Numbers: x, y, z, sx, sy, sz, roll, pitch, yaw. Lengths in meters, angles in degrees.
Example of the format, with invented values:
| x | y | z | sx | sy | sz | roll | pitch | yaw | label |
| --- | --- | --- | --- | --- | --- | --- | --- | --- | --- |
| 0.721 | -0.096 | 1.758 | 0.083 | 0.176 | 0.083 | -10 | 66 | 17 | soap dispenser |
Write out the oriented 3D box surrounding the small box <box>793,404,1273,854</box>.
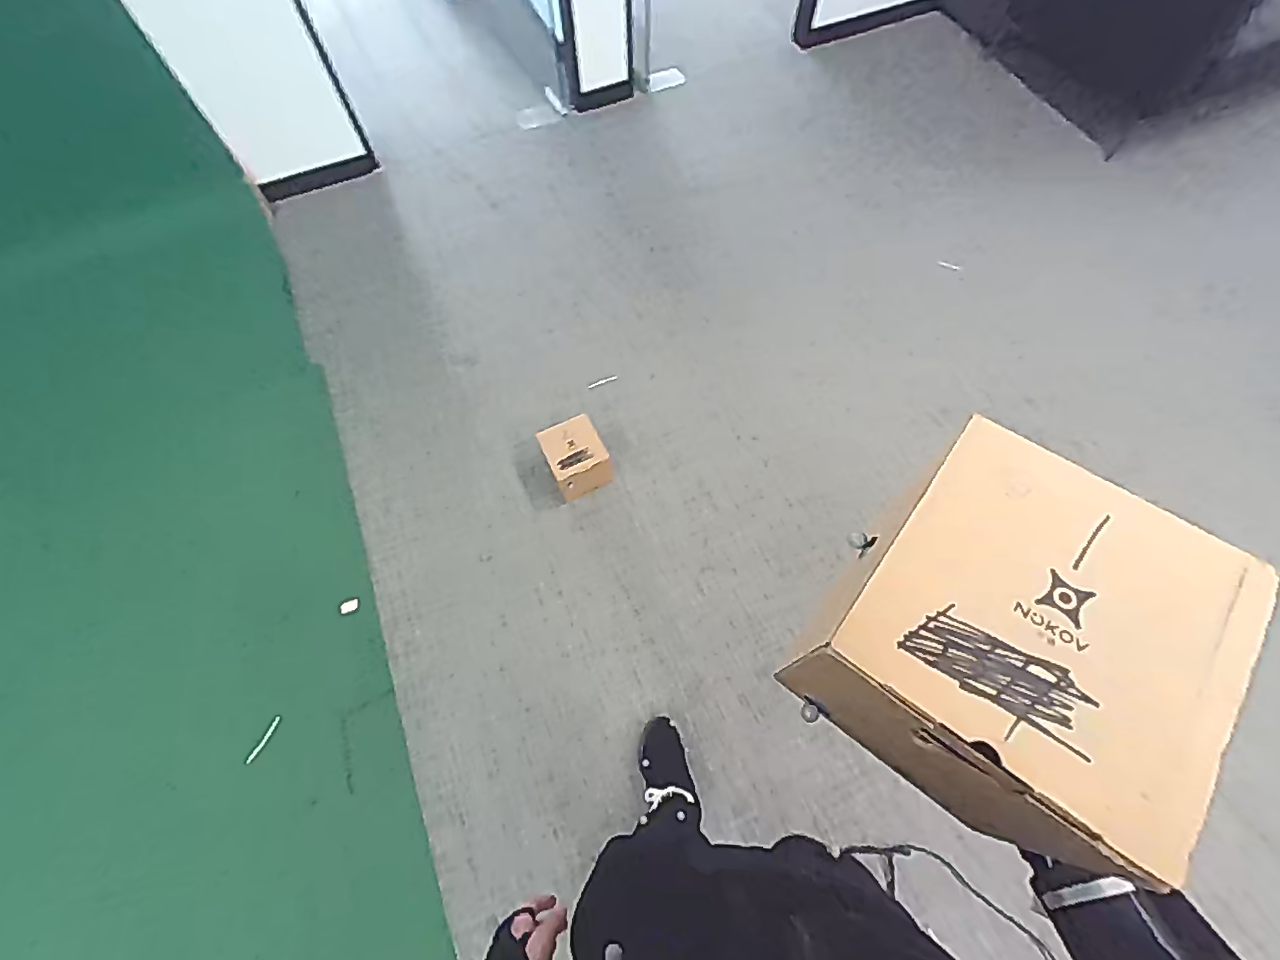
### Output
| x | y | z | sx | sy | sz | roll | pitch | yaw | label |
| --- | --- | --- | --- | --- | --- | --- | --- | --- | --- |
| 0.219 | 0.092 | 0.354 | 0.168 | 0.176 | 0.179 | 35 | 71 | 18 | small box |
